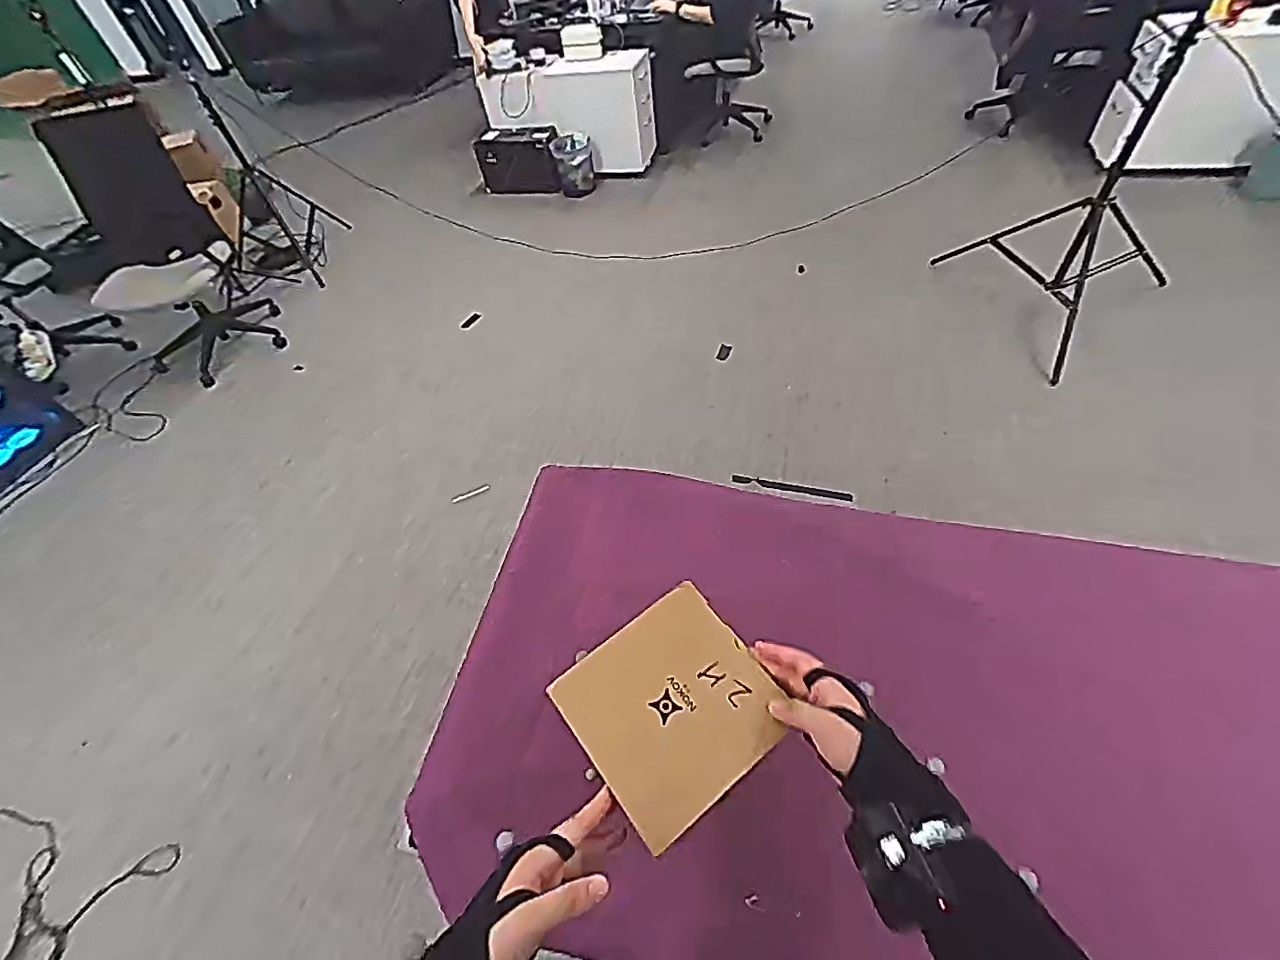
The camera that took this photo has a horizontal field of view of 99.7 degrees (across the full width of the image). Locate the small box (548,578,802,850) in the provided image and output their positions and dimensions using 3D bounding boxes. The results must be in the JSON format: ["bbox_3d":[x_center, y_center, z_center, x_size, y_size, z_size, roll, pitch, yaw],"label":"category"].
[{"bbox_3d":[0.033,0.240,0.557,0.179,0.176,0.168,-36,65,-20],"label":"small box"}]
